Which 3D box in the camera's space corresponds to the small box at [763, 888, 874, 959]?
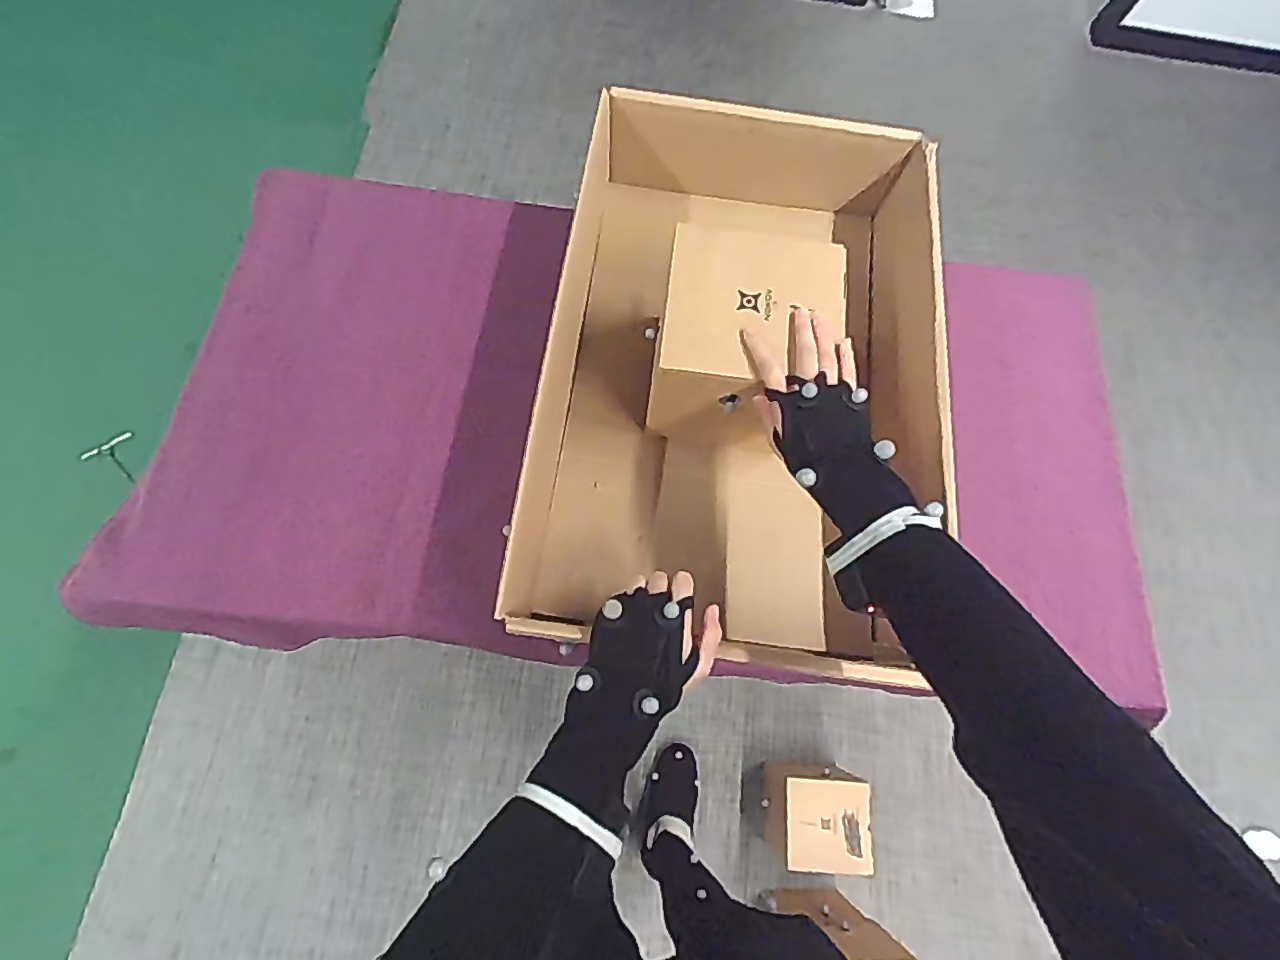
[{"bbox_3d":[0.352,0.951,1.087,0.179,0.176,0.168,2,72,-4],"label":"small box"}]
